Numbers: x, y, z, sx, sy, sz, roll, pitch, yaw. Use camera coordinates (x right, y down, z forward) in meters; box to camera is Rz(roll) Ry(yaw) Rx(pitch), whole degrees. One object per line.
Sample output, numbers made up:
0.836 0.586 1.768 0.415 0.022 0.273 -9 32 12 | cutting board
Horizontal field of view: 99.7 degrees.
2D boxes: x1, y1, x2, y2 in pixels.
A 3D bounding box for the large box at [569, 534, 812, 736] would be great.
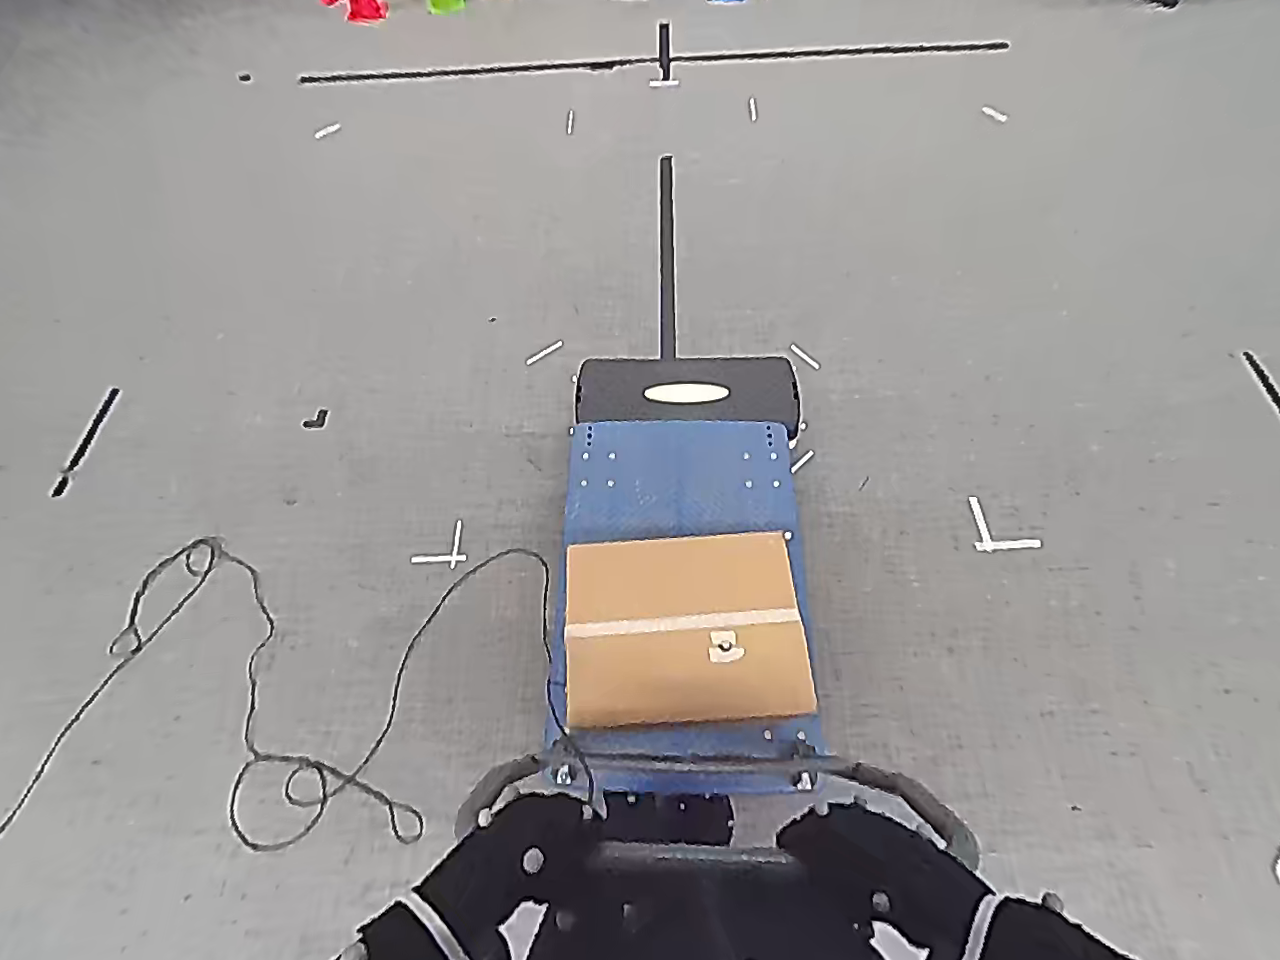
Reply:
0.078 0.323 1.085 0.408 0.320 0.320 -4 63 -1 | large box
